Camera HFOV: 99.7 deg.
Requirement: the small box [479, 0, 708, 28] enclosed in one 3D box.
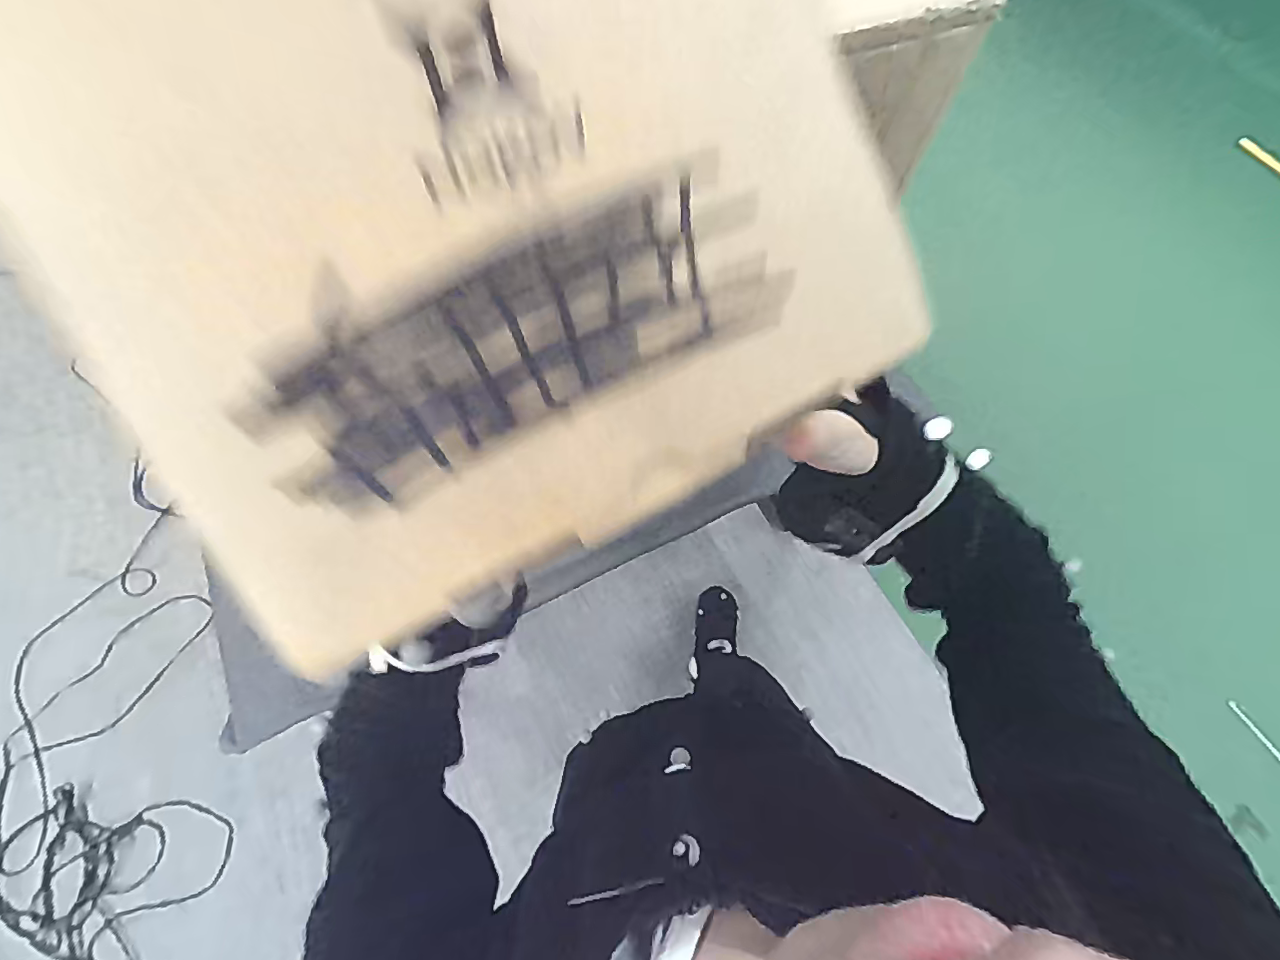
[{"bbox_3d":[-0.040,-0.397,0.293,0.168,0.176,0.179,-19,70,-9],"label":"small box"}]
